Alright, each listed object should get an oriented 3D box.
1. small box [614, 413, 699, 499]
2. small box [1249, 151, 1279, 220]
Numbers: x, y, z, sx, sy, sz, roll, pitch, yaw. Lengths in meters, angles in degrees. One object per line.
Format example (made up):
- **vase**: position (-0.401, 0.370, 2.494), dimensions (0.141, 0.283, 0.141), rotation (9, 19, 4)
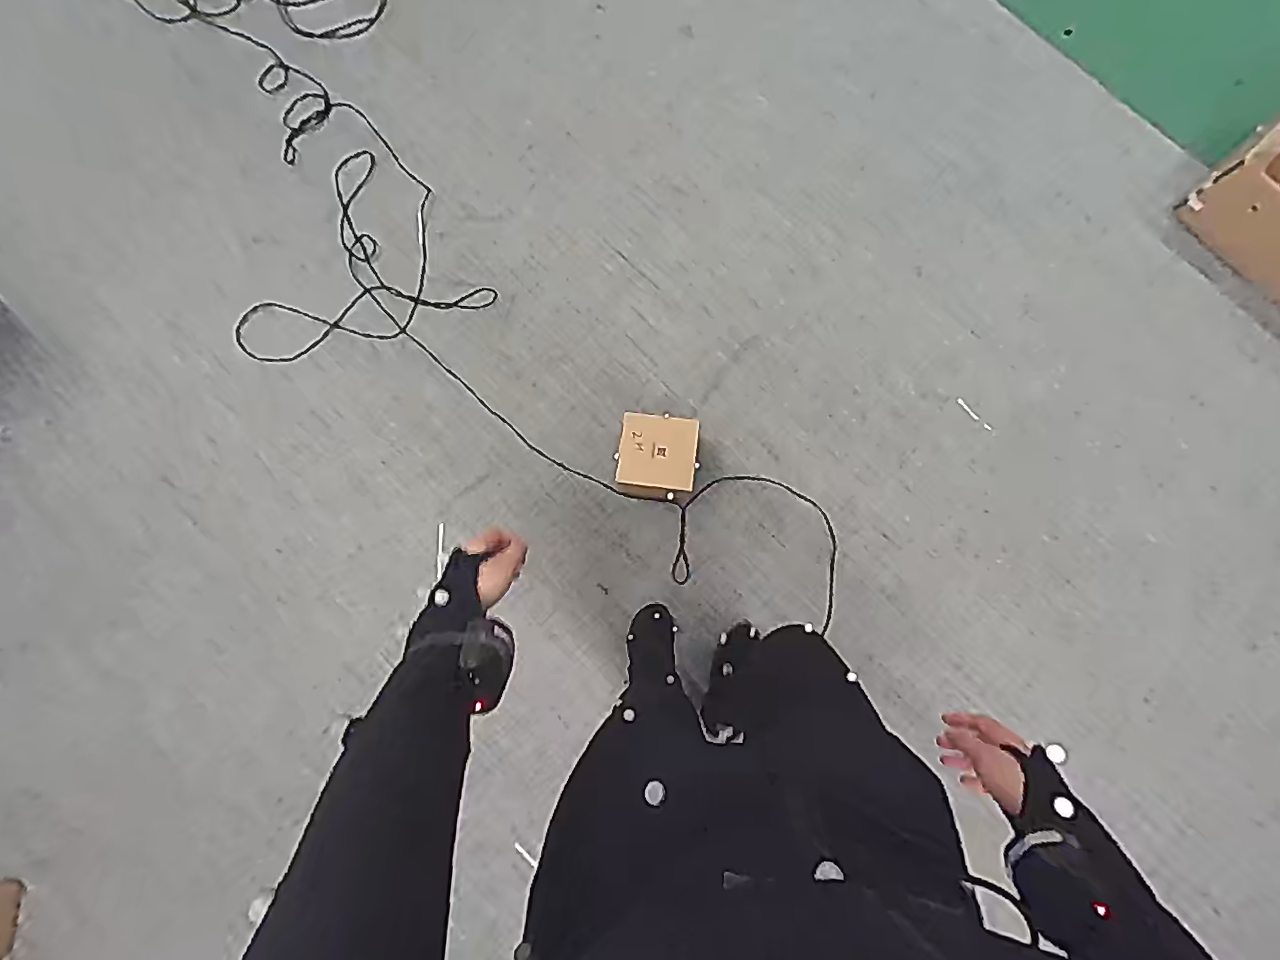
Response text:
- **small box**: position (0.039, -0.051, 1.293), dimensions (0.179, 0.176, 0.168), rotation (7, 80, 2)
- **small box**: position (1.696, -0.773, 1.335), dimensions (0.168, 0.176, 0.179), rotation (43, 85, 6)
